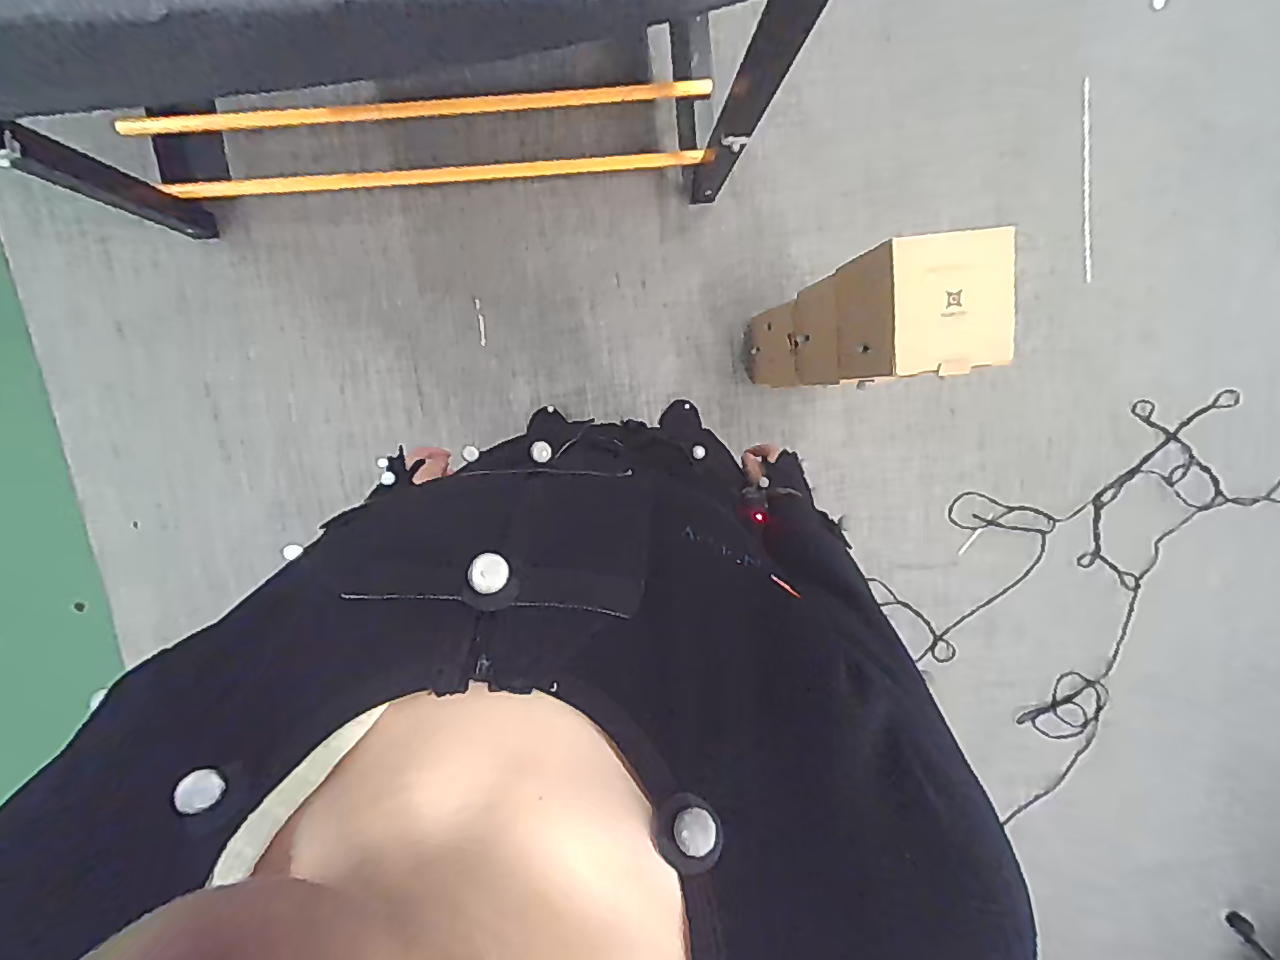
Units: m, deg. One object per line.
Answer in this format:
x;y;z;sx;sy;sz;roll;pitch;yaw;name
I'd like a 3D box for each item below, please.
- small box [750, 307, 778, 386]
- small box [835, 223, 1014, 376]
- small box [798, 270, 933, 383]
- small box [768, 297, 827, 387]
0.368;-0.311;1.261;0.179;0.176;0.168;-6;98;-4;small box
0.397;-0.245;0.777;0.168;0.176;0.179;-8;98;-4;small box
0.384;-0.264;0.937;0.168;0.176;0.179;-7;100;-5;small box
0.369;-0.281;1.100;0.179;0.176;0.168;-9;99;-4;small box
